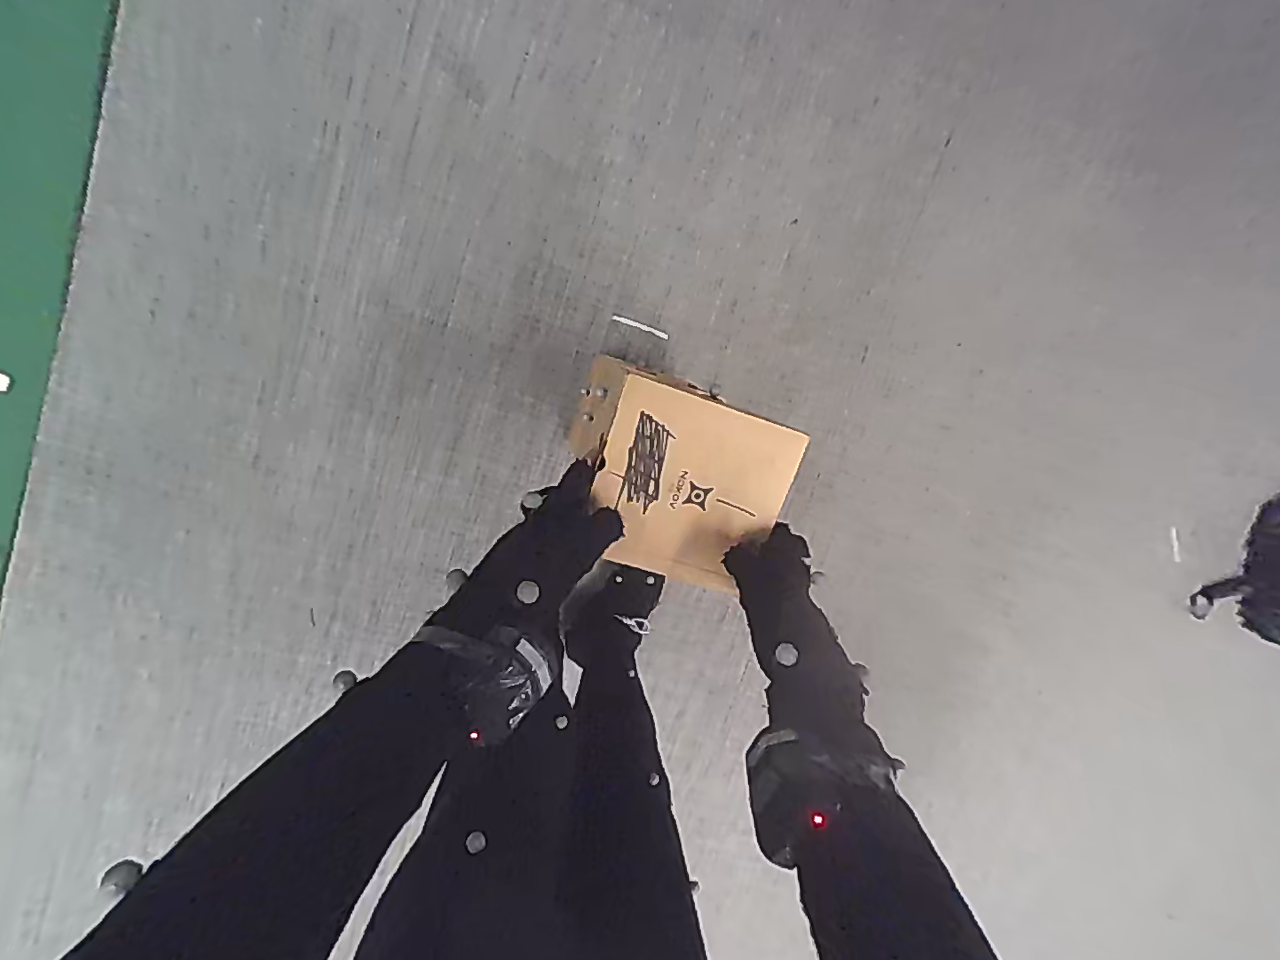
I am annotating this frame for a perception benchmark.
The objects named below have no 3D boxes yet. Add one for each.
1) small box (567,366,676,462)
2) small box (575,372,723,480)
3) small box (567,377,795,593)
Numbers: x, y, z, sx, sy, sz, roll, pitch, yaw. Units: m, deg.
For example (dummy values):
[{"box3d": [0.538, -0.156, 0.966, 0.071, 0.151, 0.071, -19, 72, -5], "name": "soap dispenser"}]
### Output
[{"box3d": [-0.022, -0.098, 0.962, 0.179, 0.176, 0.168, 16, 96, -13], "name": "small box"}, {"box3d": [0.001, -0.053, 0.805, 0.168, 0.176, 0.179, 16, 98, -11], "name": "small box"}, {"box3d": [0.030, -0.006, 0.582, 0.179, 0.176, 0.168, 18, 101, -10], "name": "small box"}]
